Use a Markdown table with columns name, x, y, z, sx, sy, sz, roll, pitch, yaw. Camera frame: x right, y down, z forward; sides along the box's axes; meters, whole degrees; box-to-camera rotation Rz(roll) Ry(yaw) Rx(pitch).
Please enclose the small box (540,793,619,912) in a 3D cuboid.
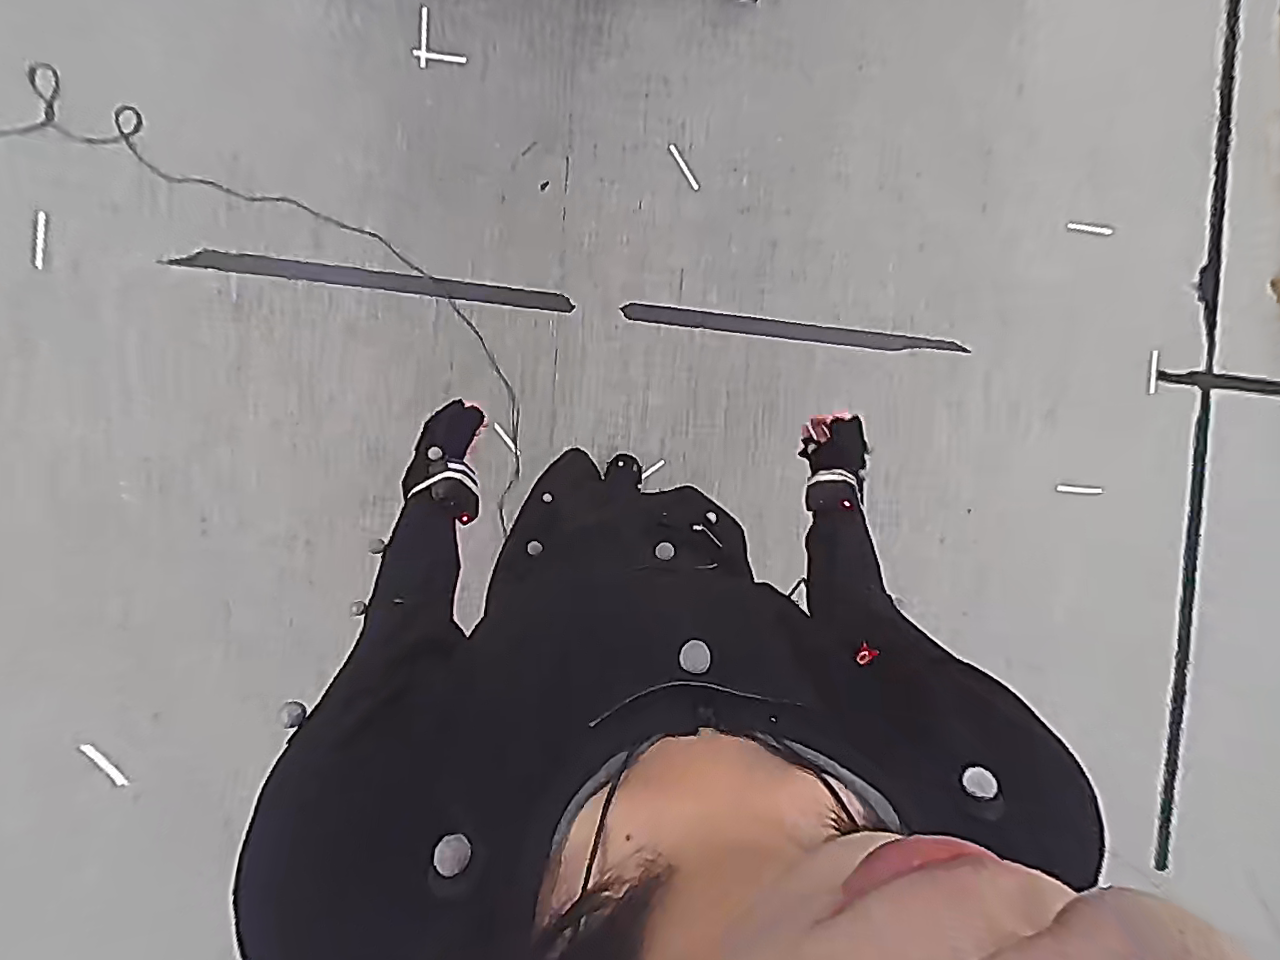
| name | x | y | z | sx | sy | sz | roll | pitch | yaw |
| --- | --- | --- | --- | --- | --- | --- | --- | --- | --- |
| small box | -0.159 | 0.984 | 1.441 | 0.168 | 0.176 | 0.179 | -15 | 92 | -6 |
